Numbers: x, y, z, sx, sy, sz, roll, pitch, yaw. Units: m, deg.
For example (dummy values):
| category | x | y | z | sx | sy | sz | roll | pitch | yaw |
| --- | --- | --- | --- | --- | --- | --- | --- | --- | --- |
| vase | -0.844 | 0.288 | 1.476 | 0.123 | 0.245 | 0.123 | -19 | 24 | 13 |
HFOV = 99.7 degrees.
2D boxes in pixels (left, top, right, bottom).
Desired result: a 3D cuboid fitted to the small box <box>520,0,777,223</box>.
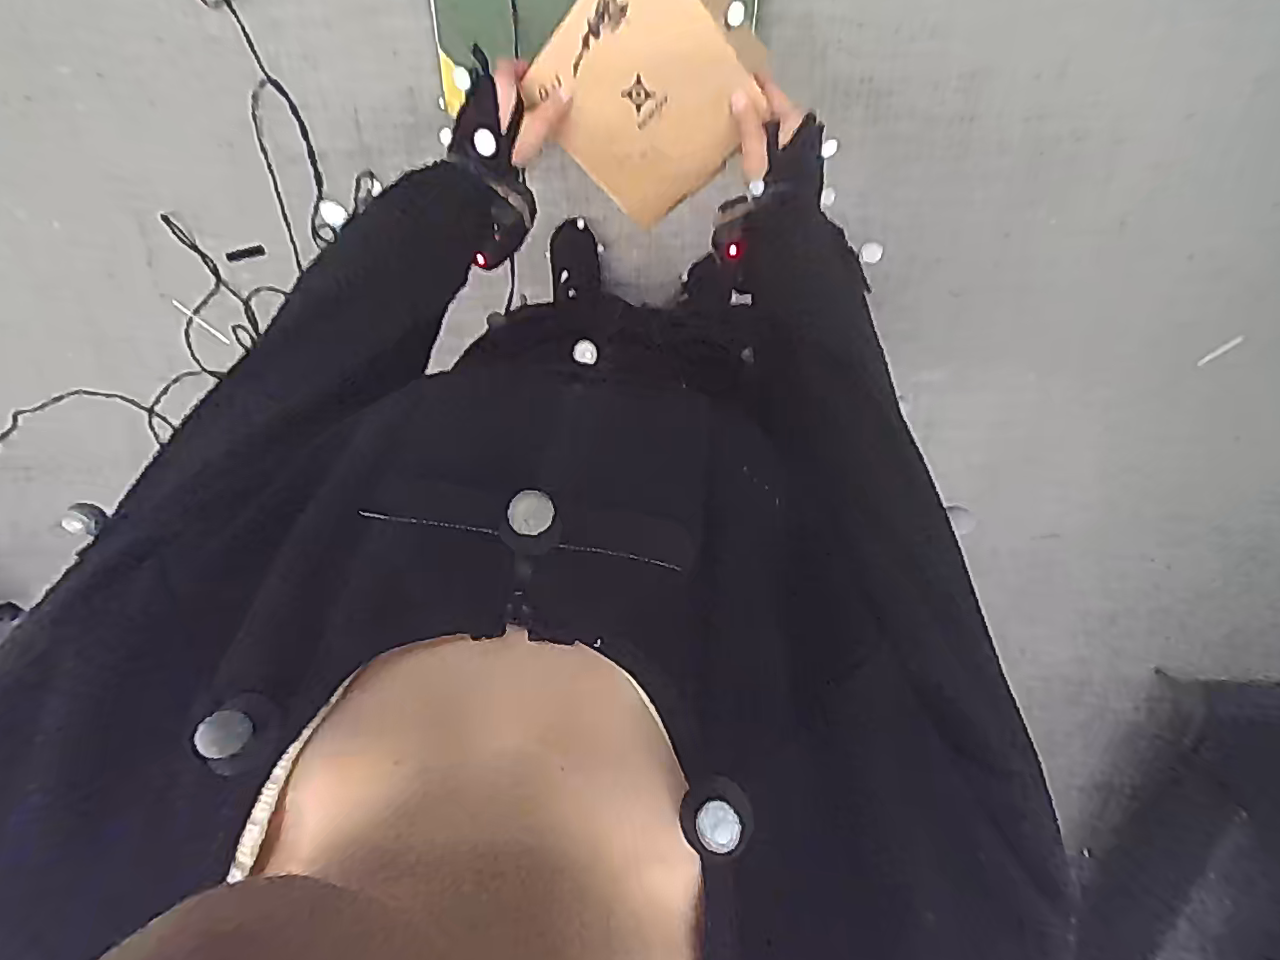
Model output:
| category | x | y | z | sx | sy | sz | roll | pitch | yaw |
| --- | --- | --- | --- | --- | --- | --- | --- | --- | --- |
| small box | 0.016 | -0.405 | 0.530 | 0.168 | 0.176 | 0.179 | -28 | 130 | 36 |
